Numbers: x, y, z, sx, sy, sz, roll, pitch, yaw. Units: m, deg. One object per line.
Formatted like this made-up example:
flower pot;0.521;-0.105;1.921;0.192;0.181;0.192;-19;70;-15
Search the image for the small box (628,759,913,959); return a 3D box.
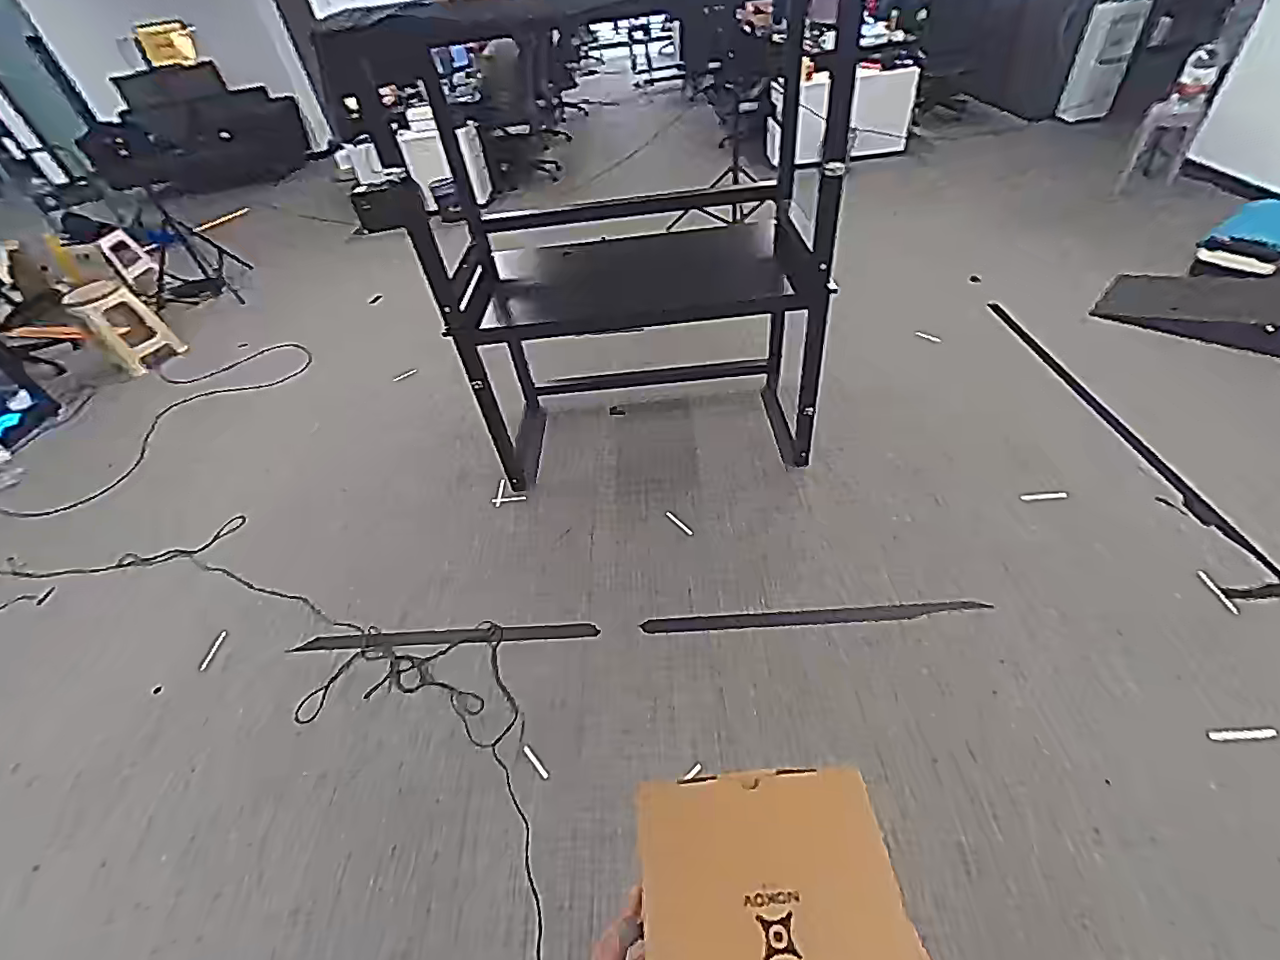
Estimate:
small box;0.082;0.329;0.390;0.168;0.176;0.179;-4;44;-3
